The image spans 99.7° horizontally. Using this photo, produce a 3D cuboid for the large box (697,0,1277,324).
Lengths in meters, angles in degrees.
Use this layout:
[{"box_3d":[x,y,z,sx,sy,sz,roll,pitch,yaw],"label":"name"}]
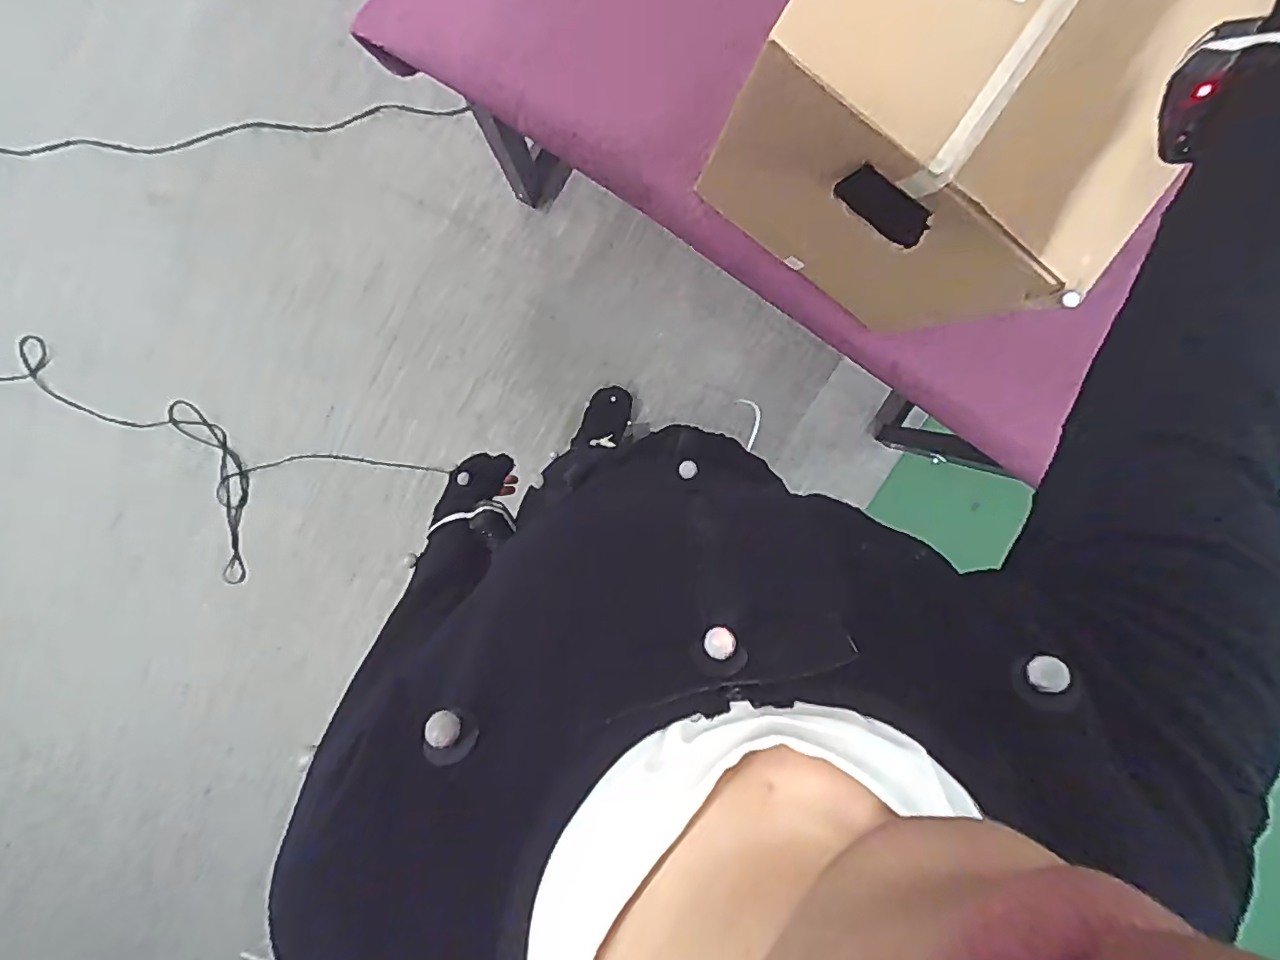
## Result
[{"box_3d":[0.313,-0.422,0.541,0.320,0.320,0.408,34,97,-9],"label":"large box"}]
